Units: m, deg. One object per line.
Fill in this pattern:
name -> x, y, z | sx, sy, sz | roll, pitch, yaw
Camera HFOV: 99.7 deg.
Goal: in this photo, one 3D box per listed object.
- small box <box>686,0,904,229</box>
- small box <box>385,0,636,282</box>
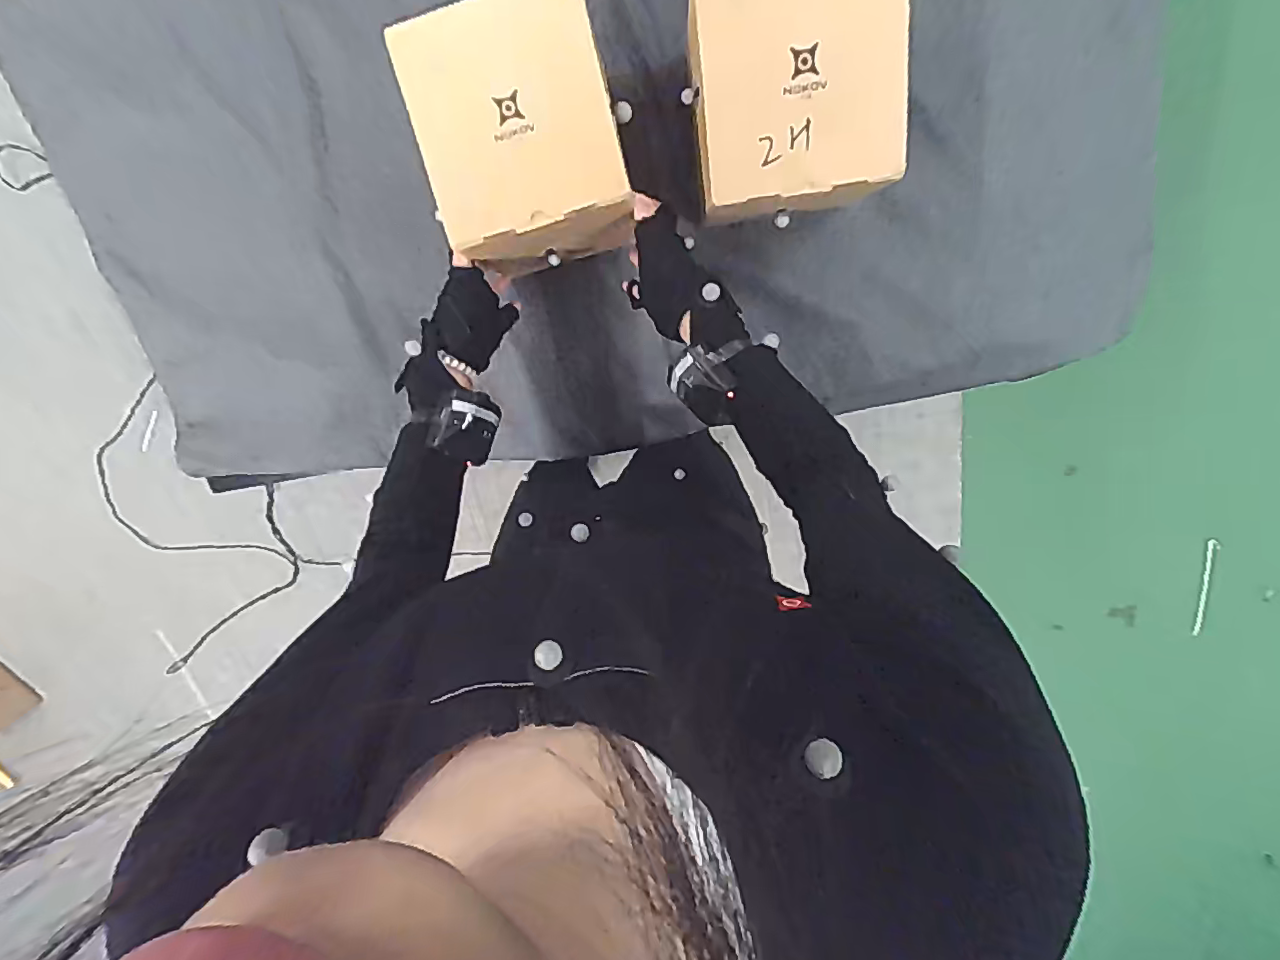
small box -> 0.135, -0.354, 0.518 | 0.168, 0.176, 0.179 | -6, 109, 6
small box -> -0.106, -0.311, 0.526 | 0.168, 0.176, 0.179 | -15, 102, 6
